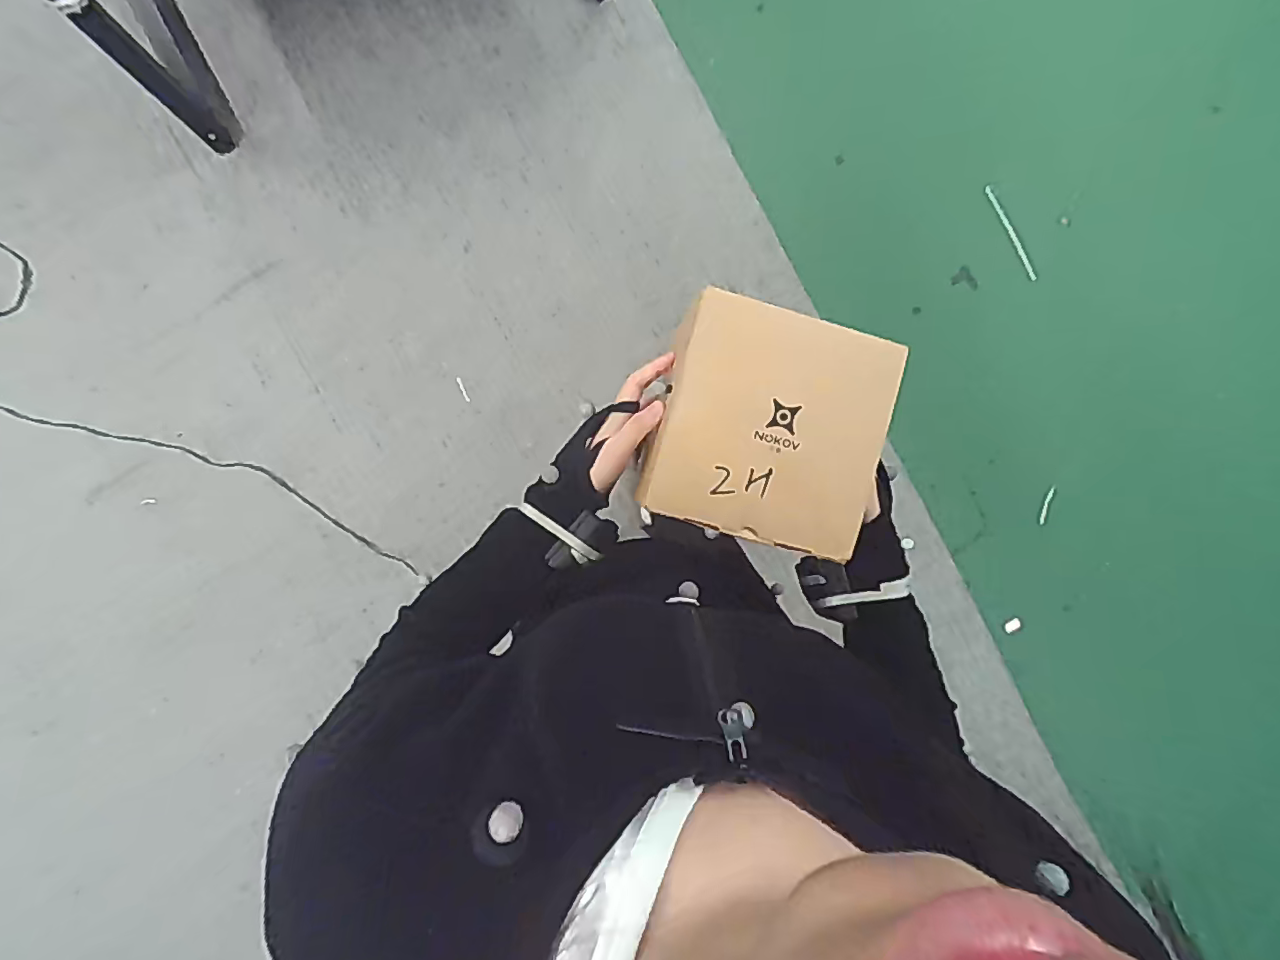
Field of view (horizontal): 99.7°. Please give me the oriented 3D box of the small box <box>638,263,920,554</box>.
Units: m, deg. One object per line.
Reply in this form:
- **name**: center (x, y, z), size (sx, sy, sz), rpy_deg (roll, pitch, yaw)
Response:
- **small box**: center (0.100, -0.051, 0.469), size (0.168, 0.176, 0.179), rpy_deg (16, 90, -4)
